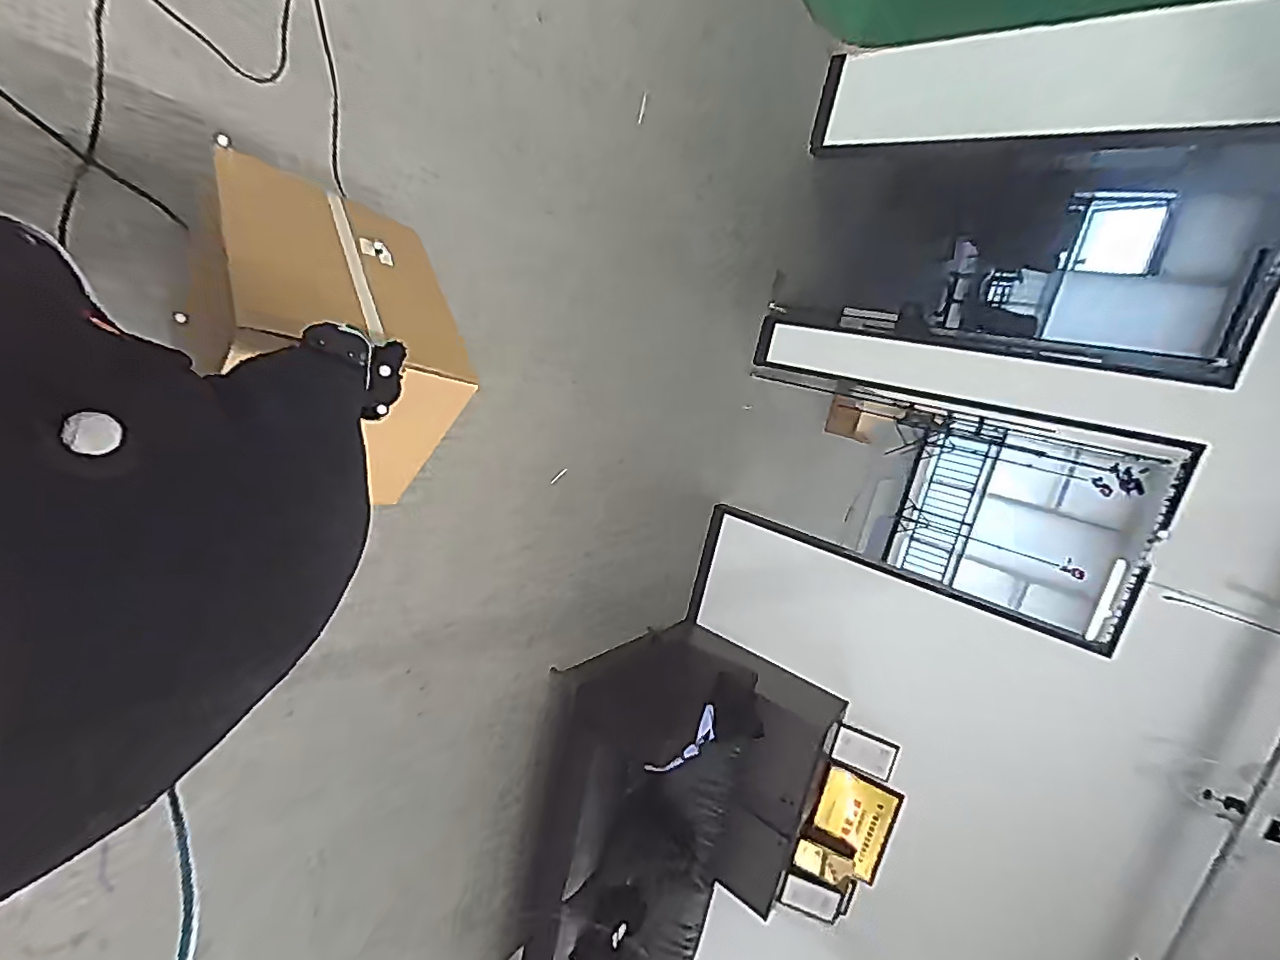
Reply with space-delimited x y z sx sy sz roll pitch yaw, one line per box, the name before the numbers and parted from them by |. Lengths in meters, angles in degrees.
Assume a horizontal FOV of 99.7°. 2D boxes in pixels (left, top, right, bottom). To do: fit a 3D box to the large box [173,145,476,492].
large box | -0.528 -0.228 0.883 0.320 0.408 0.320 8 136 -50
